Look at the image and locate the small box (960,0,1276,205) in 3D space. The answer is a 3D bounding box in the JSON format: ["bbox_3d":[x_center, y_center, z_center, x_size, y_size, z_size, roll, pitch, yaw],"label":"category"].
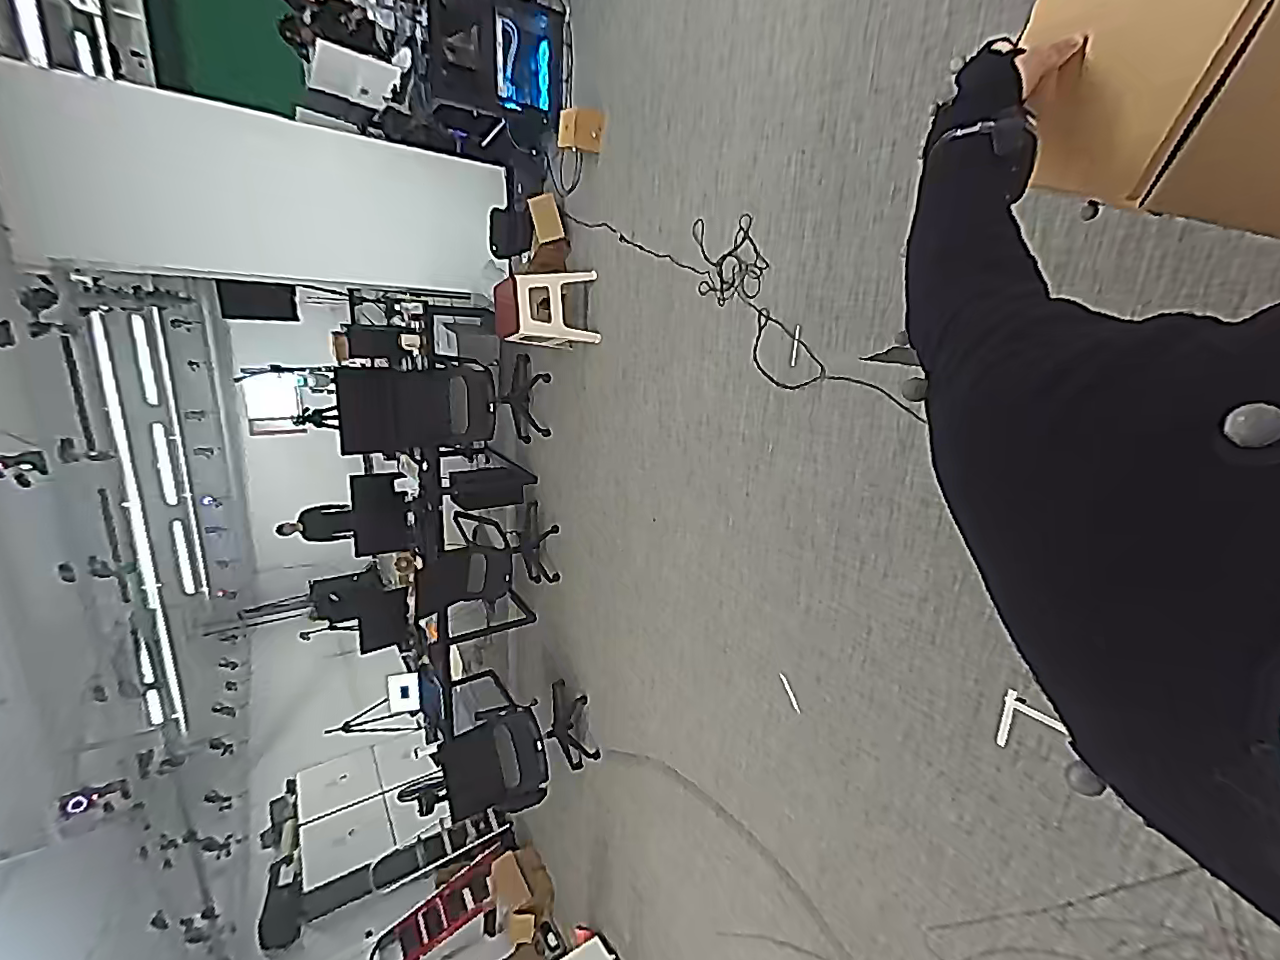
[{"bbox_3d":[0.480,-0.389,0.551,0.179,0.176,0.168,39,131,33],"label":"small box"}]
